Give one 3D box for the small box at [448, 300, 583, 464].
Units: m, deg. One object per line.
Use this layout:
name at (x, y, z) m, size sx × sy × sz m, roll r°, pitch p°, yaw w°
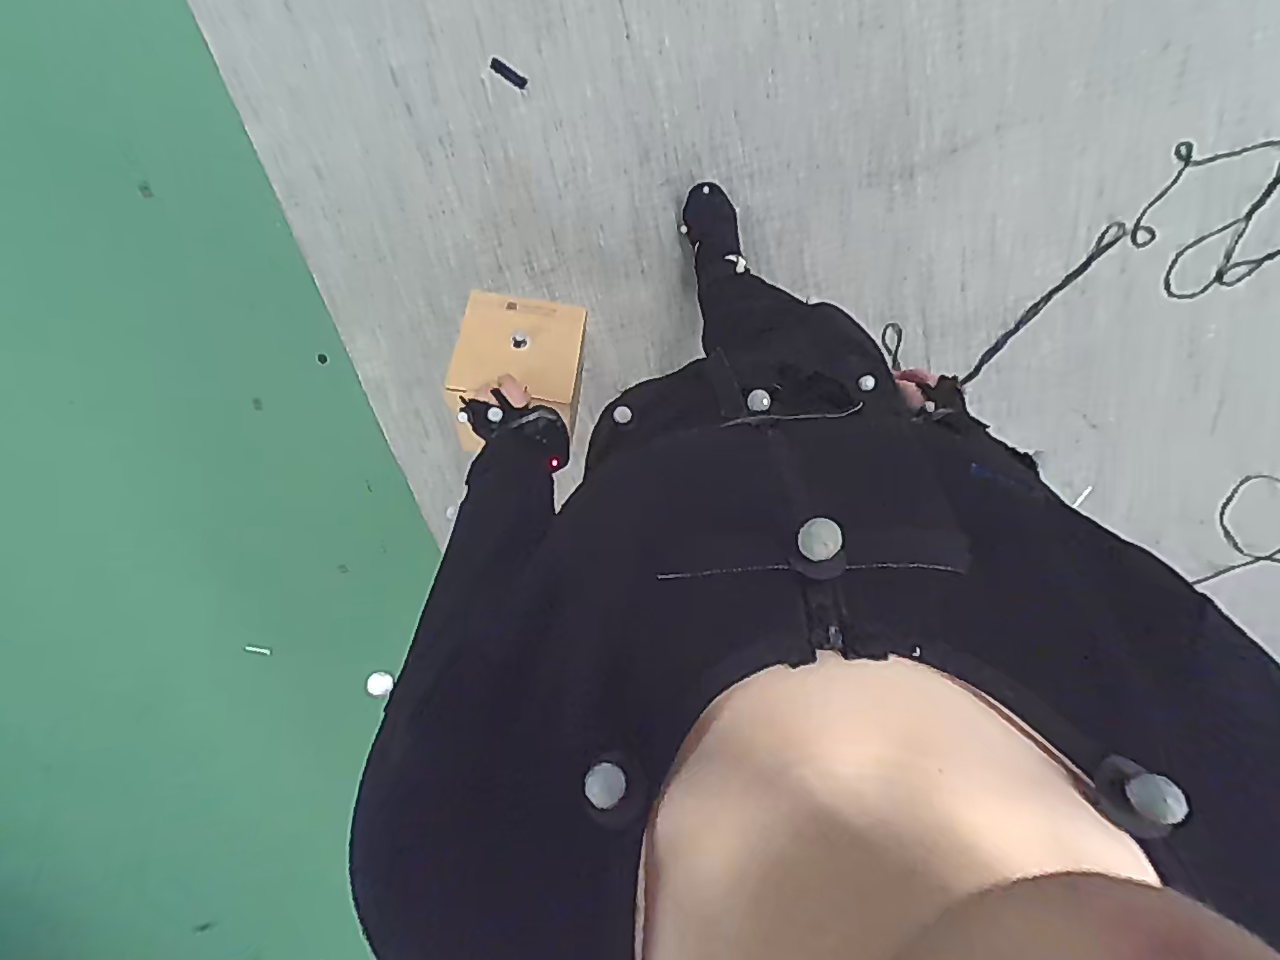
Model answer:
small box at (-0.175, -0.143, 0.806) m, size 0.168 × 0.176 × 0.179 m, roll 5°, pitch 152°, yaw -6°
